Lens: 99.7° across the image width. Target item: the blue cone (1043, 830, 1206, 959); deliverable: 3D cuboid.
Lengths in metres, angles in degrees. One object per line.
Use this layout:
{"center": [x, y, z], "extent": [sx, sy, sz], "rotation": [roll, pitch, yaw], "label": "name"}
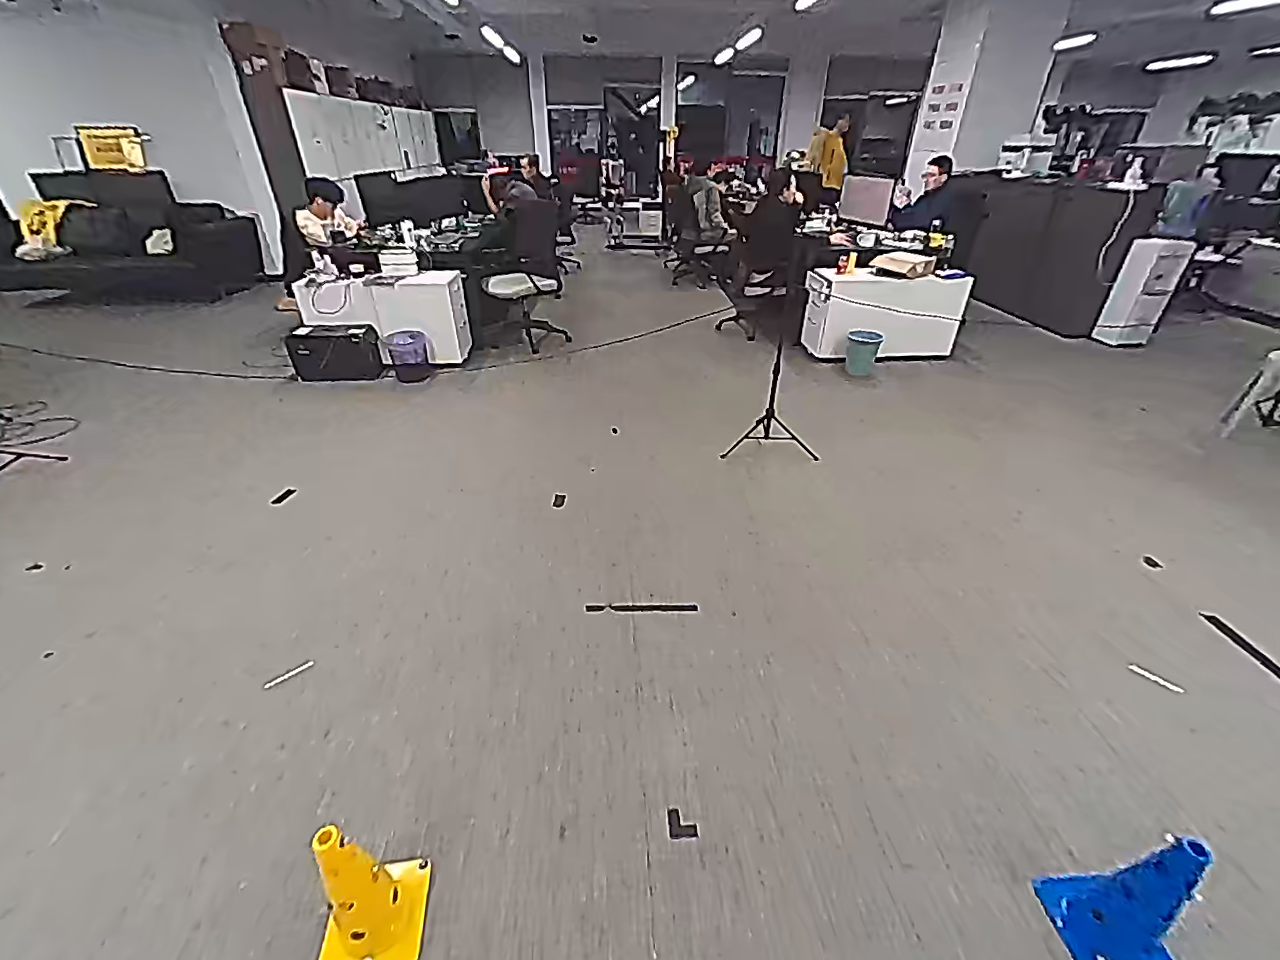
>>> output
{"center": [0.979, 0.801, 1.041], "extent": [0.193, 0.380, 0.192], "rotation": [-1, 31, -1], "label": "blue cone"}
